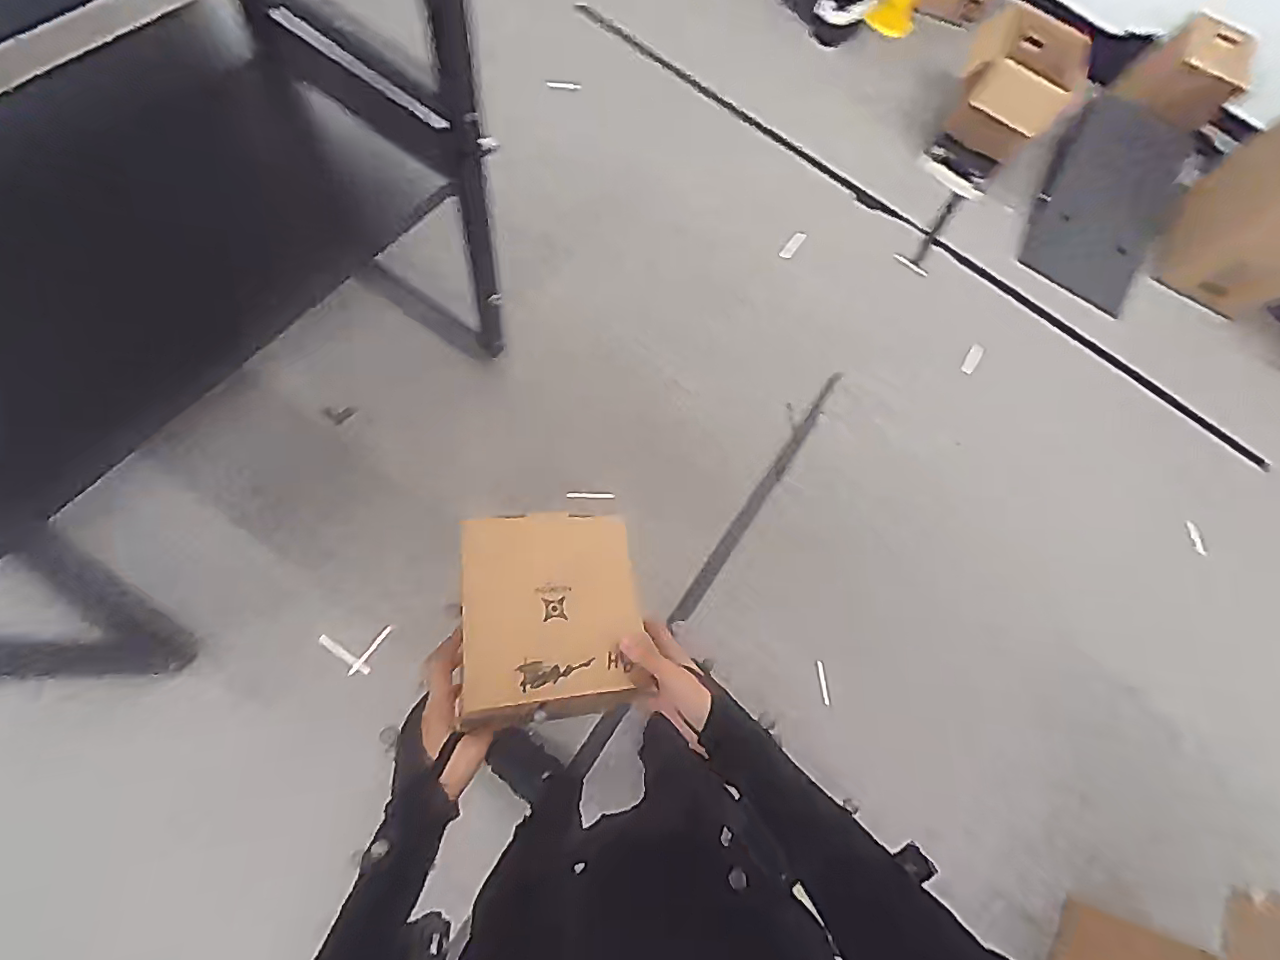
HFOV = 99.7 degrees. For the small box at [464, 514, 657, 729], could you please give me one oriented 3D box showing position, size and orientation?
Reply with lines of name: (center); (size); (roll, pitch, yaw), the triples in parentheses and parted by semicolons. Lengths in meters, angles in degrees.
small box: (-0.096, 0.150, 0.570); (0.168, 0.176, 0.179); (1, 60, -19)
